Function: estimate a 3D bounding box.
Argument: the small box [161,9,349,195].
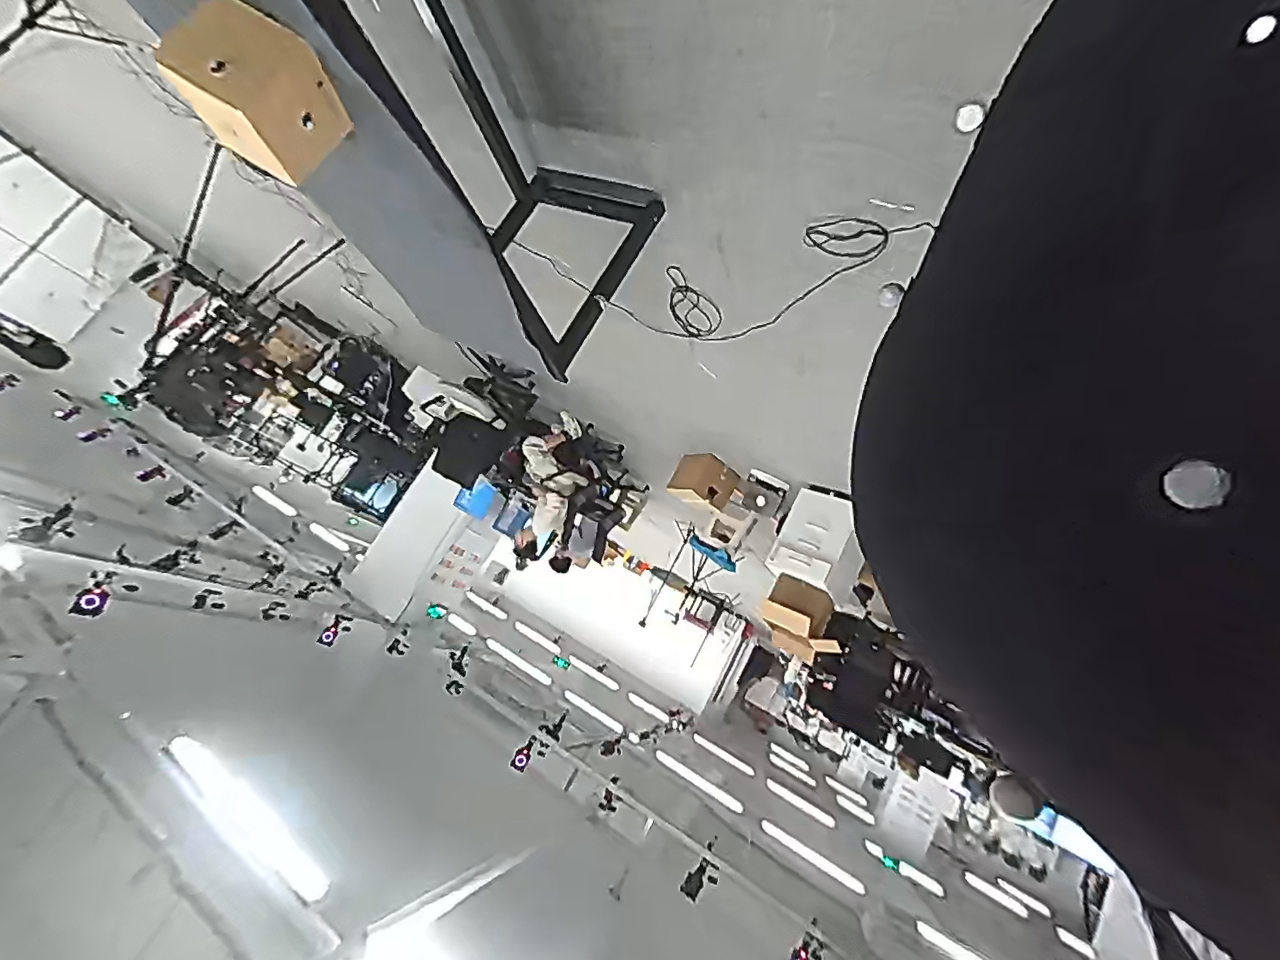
[{"bbox_3d":[-0.642,-0.649,0.933,0.179,0.176,0.168,31,167,2],"label":"small box"}]
